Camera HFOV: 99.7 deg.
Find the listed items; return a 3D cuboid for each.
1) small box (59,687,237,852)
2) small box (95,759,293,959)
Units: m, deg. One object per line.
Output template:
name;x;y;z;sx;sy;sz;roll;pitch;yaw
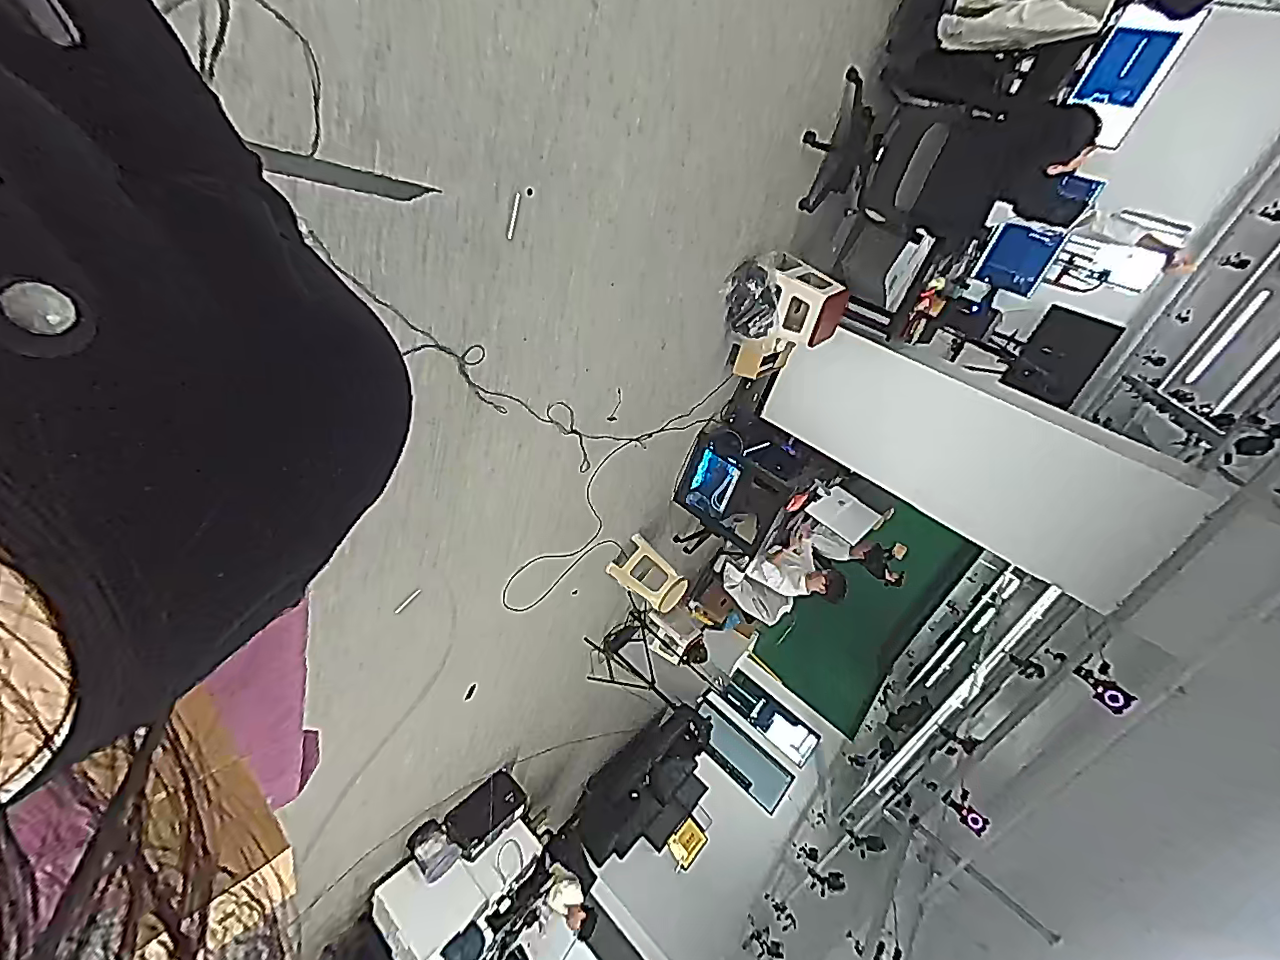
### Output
small box;-0.748;0.462;0.837;0.168;0.176;0.179;-22;140;-49
small box;-0.628;0.549;0.769;0.179;0.176;0.168;-24;143;-48
